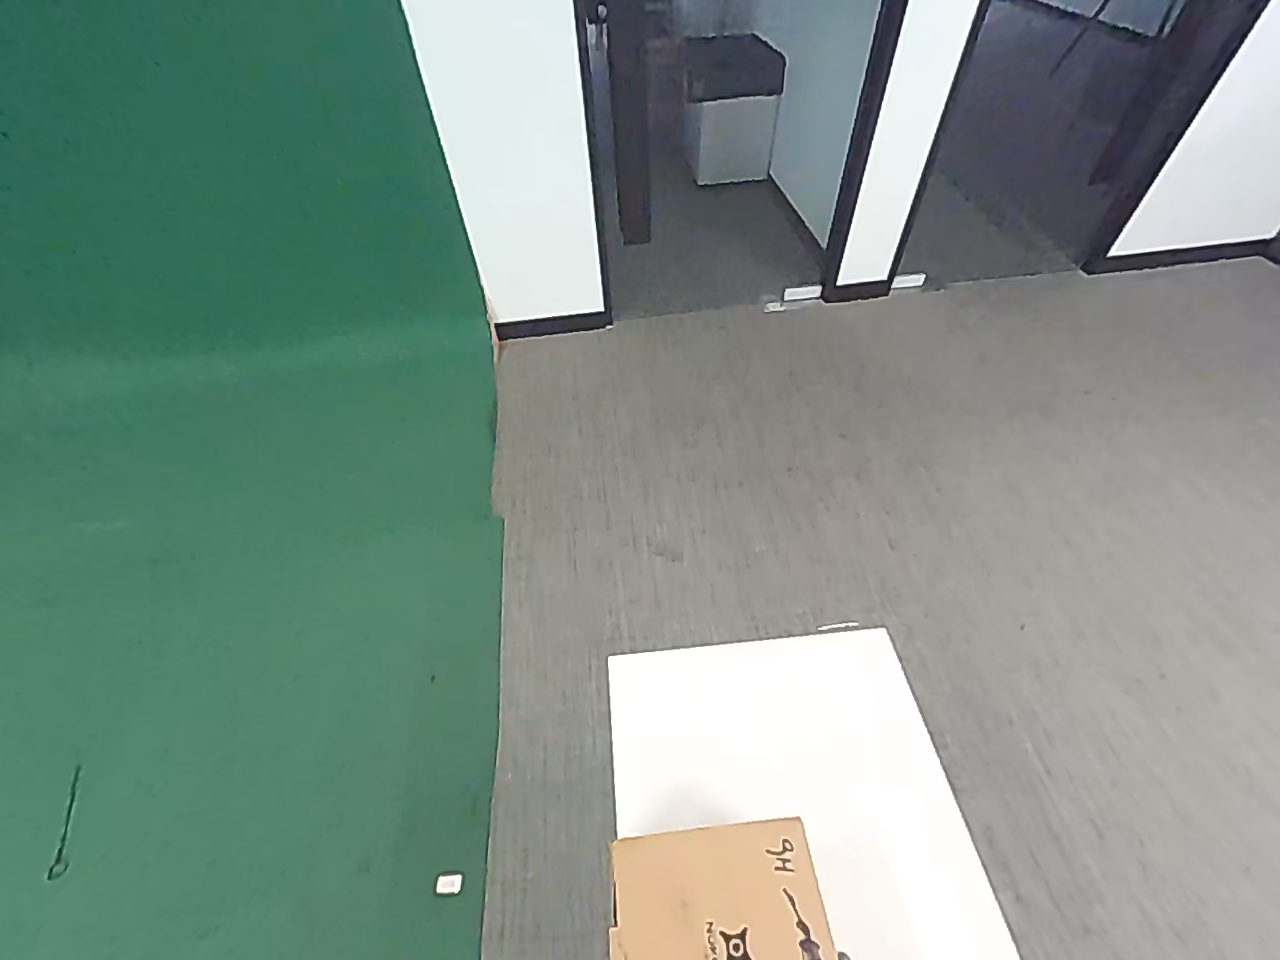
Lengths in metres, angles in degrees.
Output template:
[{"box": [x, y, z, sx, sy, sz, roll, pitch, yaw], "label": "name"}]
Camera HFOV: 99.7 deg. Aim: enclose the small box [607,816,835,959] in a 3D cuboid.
[{"box": [0.069, 0.423, 0.488, 0.179, 0.176, 0.168, -6, 48, -2], "label": "small box"}]
